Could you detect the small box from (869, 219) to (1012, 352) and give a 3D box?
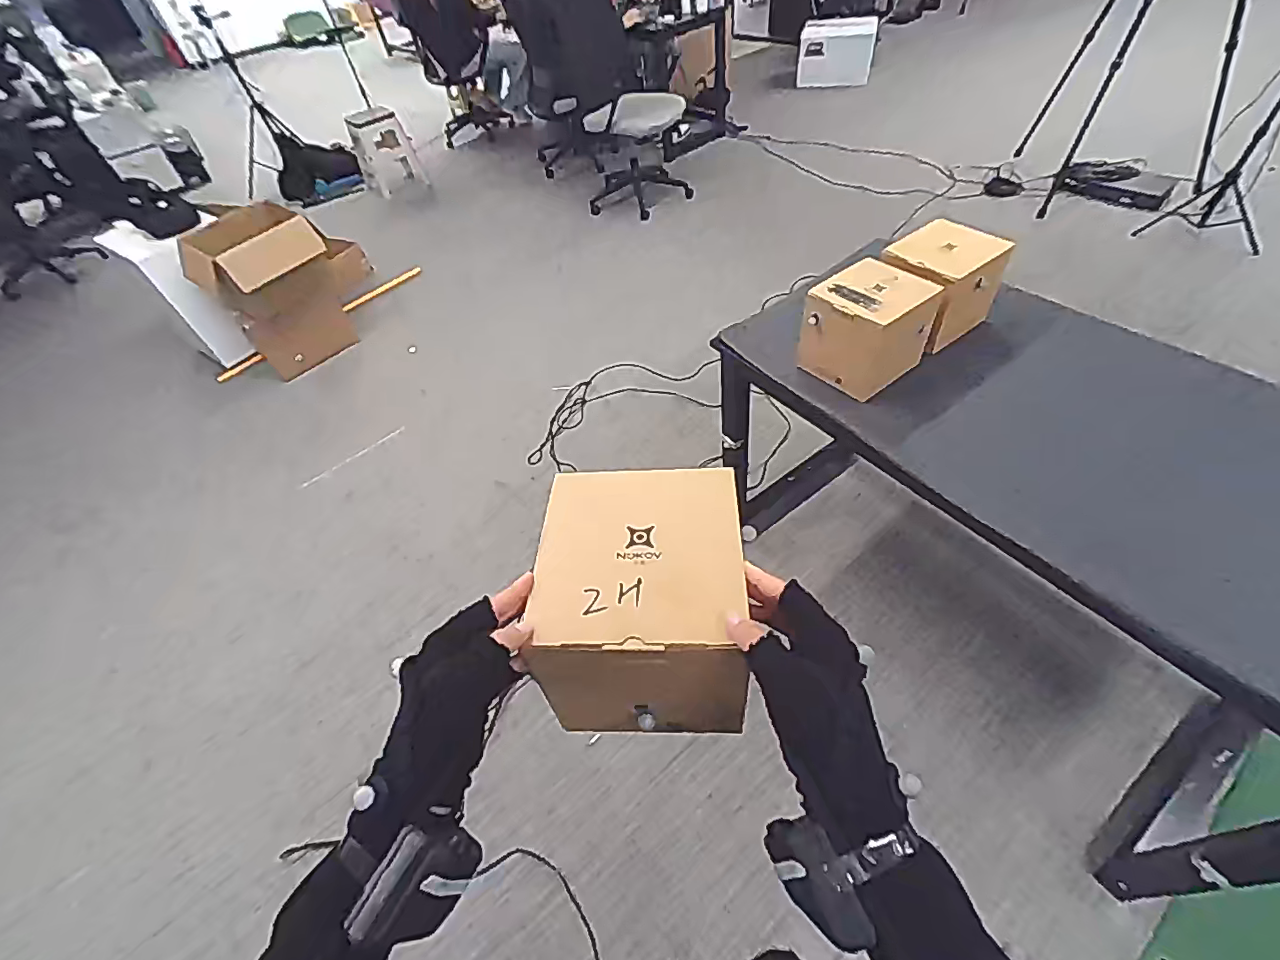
[{"bbox_3d":[0.596,-0.394,1.098,0.179,0.176,0.168,-32,53,-17],"label":"small box"}]

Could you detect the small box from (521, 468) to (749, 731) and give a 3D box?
[{"bbox_3d":[0.005,0.108,0.495,0.168,0.176,0.179,-2,47,6],"label":"small box"}]
